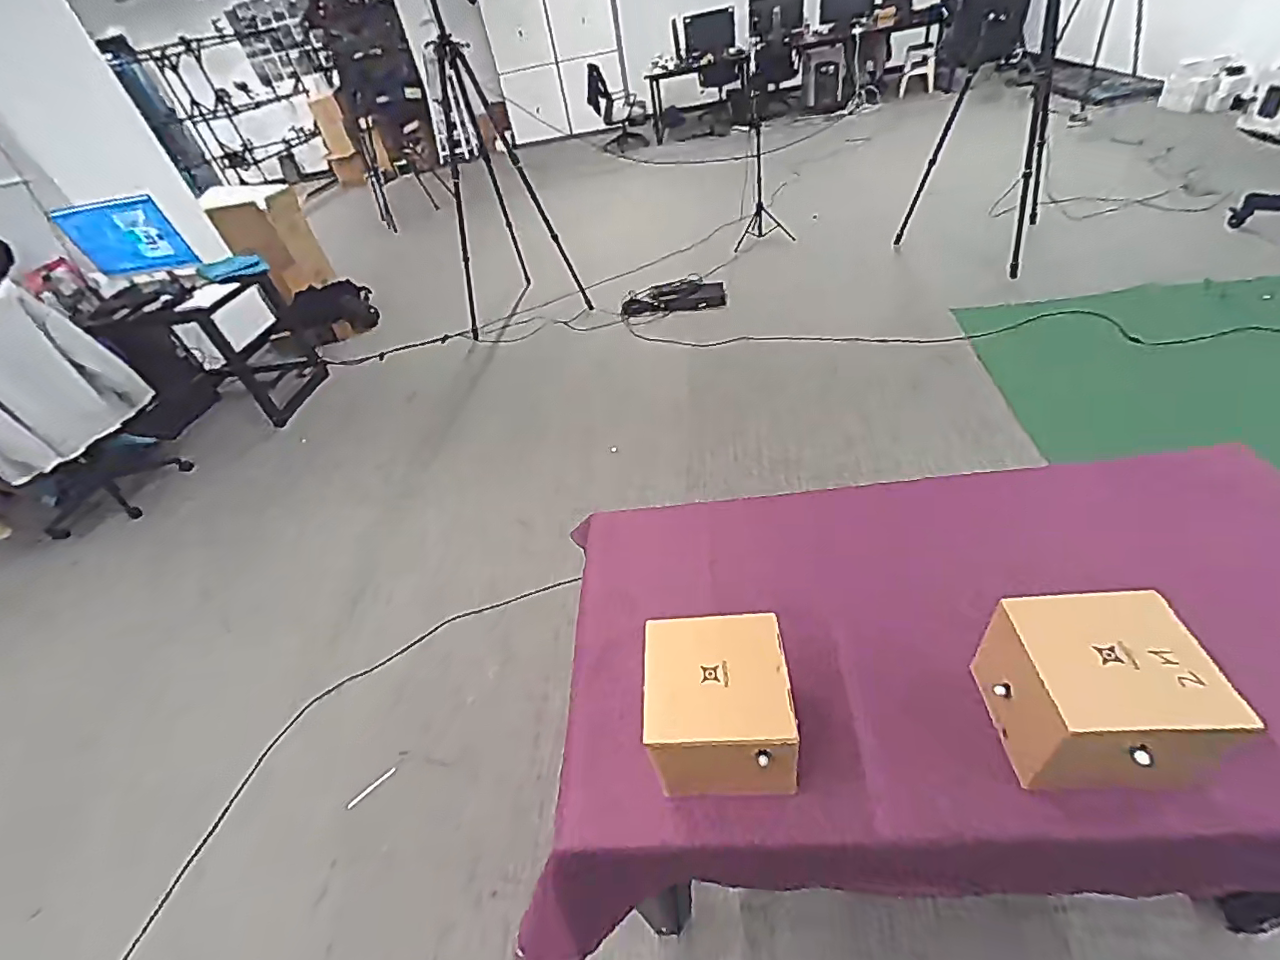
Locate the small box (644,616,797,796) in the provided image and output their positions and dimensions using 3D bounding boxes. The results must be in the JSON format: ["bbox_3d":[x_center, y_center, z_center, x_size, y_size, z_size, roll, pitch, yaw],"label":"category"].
[{"bbox_3d":[0.106,0.301,0.716,0.179,0.176,0.168,-5,42,7],"label":"small box"}]

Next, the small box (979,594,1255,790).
[{"bbox_3d":[0.539,0.258,0.652,0.179,0.176,0.168,-5,42,9],"label":"small box"}]
